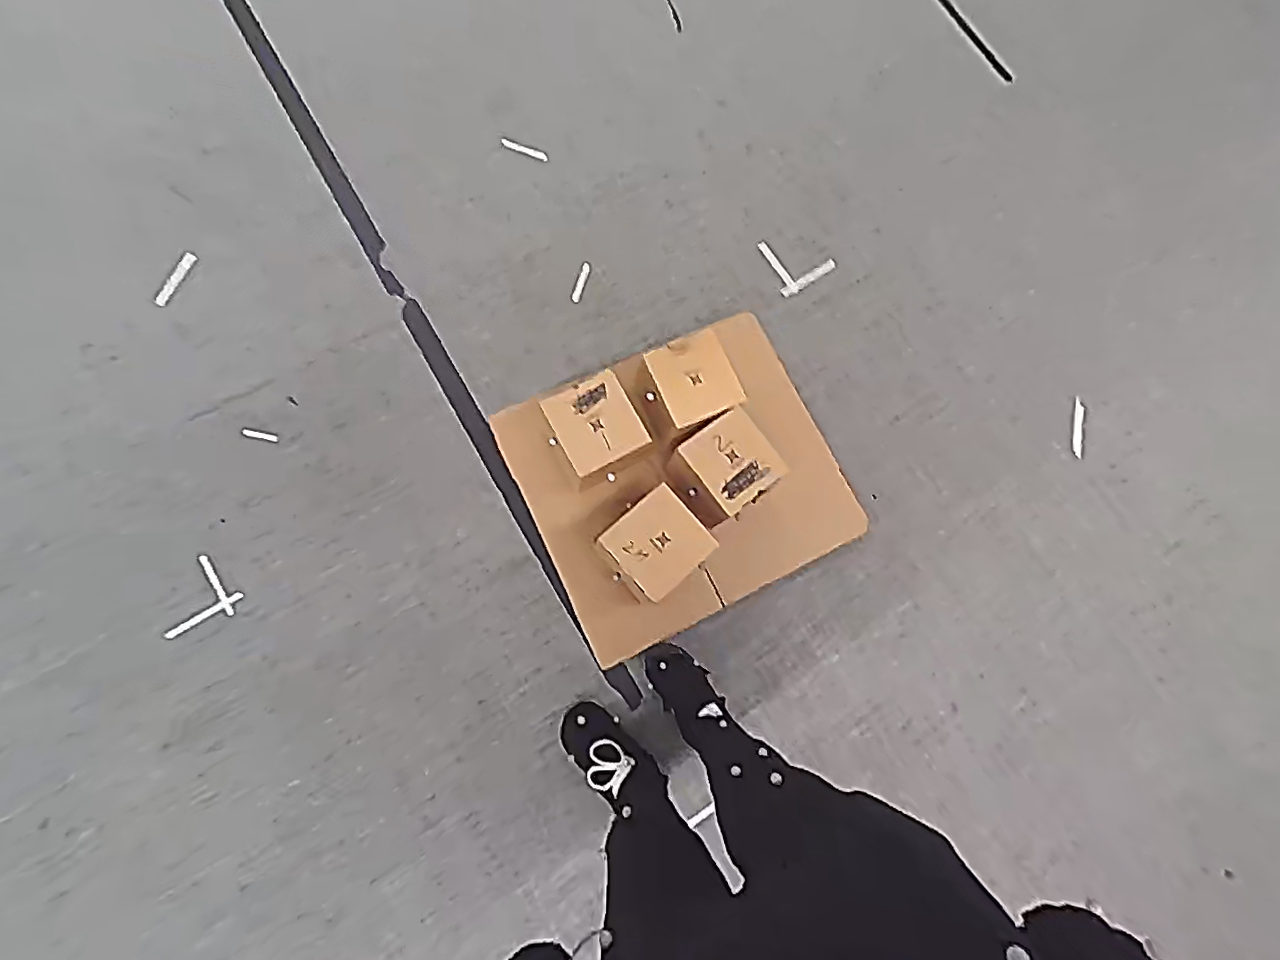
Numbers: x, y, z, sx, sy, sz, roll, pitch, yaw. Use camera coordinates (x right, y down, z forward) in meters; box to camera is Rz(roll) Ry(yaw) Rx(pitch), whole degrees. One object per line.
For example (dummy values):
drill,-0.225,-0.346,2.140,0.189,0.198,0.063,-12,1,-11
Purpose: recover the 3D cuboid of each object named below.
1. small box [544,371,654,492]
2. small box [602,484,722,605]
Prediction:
small box,-0.092,-0.096,1.147,0.168,0.176,0.179,-28,83,-12
small box,0.034,0.137,1.111,0.179,0.176,0.168,-40,84,-13
